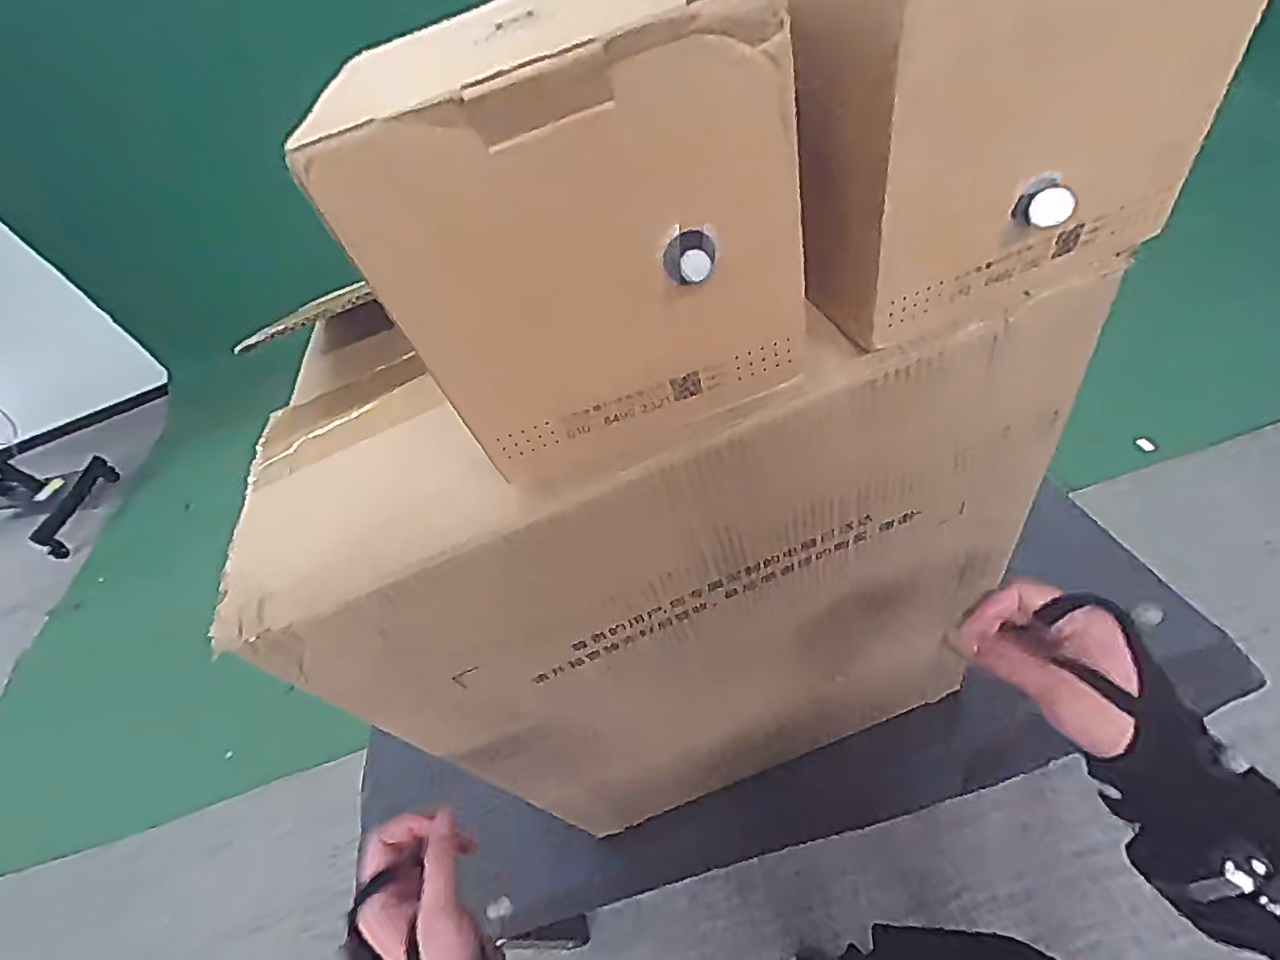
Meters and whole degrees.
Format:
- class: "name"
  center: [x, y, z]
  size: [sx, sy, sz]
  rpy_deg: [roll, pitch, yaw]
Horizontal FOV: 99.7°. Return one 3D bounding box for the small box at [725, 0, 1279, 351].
- class: "small box"
  center: [0.153, -0.198, 0.281]
  size: [0.168, 0.176, 0.179]
  rpy_deg: [-22, 48, -1]
